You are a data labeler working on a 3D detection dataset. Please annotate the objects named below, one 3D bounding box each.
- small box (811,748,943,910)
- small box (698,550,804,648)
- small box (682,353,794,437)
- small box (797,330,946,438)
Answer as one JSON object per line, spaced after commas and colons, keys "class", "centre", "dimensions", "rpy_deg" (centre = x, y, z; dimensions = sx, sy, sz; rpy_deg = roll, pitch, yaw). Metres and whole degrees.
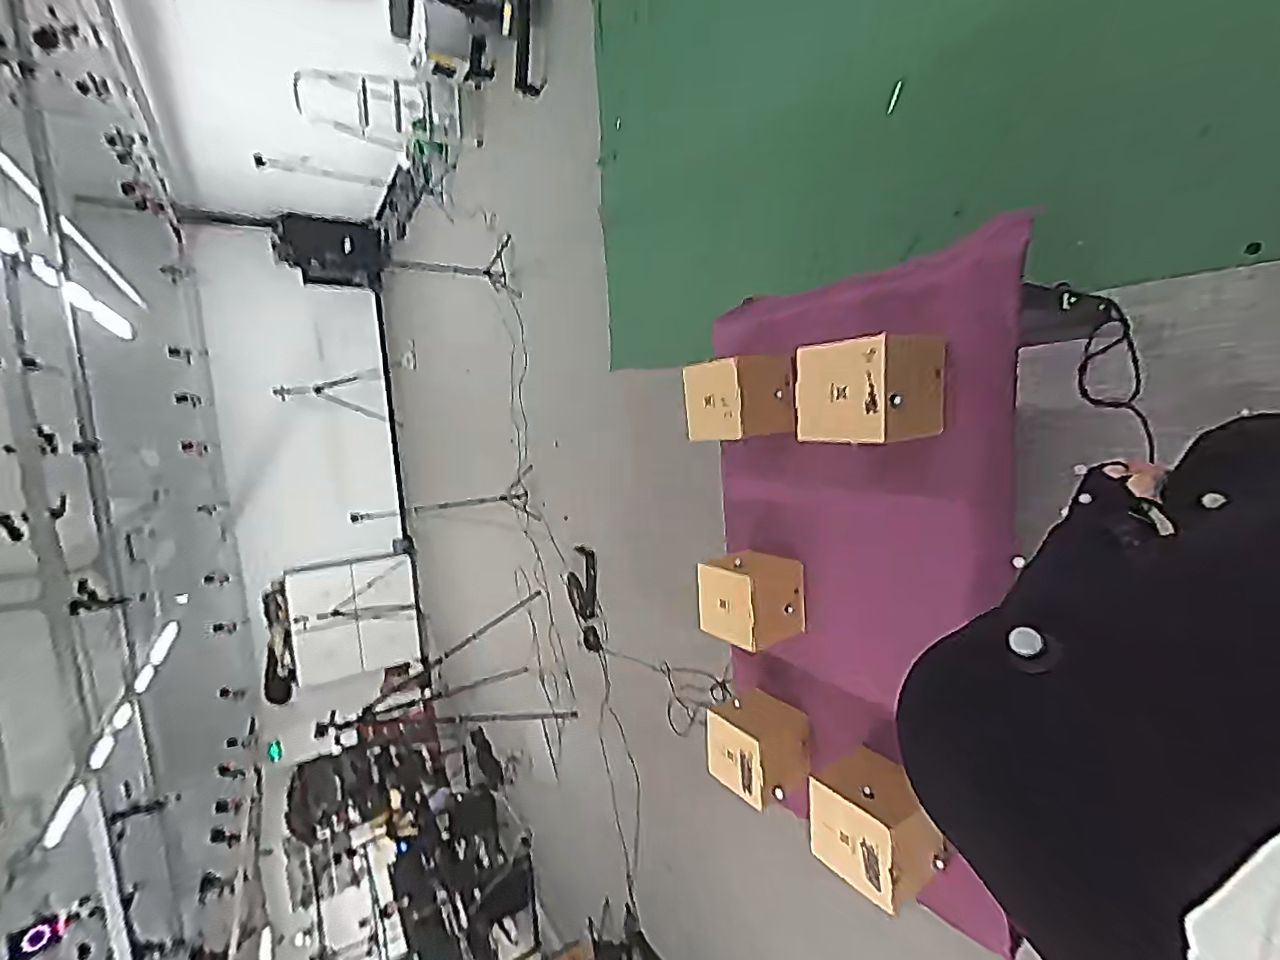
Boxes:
{"class": "small box", "centre": [0.453, 0.646, 1.031], "dimensions": [0.179, 0.176, 0.168], "rpy_deg": [6, 101, 57]}
{"class": "small box", "centre": [0.256, 0.264, 1.250], "dimensions": [0.179, 0.176, 0.168], "rpy_deg": [5, 101, 55]}
{"class": "small box", "centre": [0.216, -0.187, 1.202], "dimensions": [0.179, 0.176, 0.168], "rpy_deg": [4, 103, 55]}
{"class": "small box", "centre": [0.396, -0.164, 0.939], "dimensions": [0.179, 0.176, 0.168], "rpy_deg": [10, 106, 58]}
